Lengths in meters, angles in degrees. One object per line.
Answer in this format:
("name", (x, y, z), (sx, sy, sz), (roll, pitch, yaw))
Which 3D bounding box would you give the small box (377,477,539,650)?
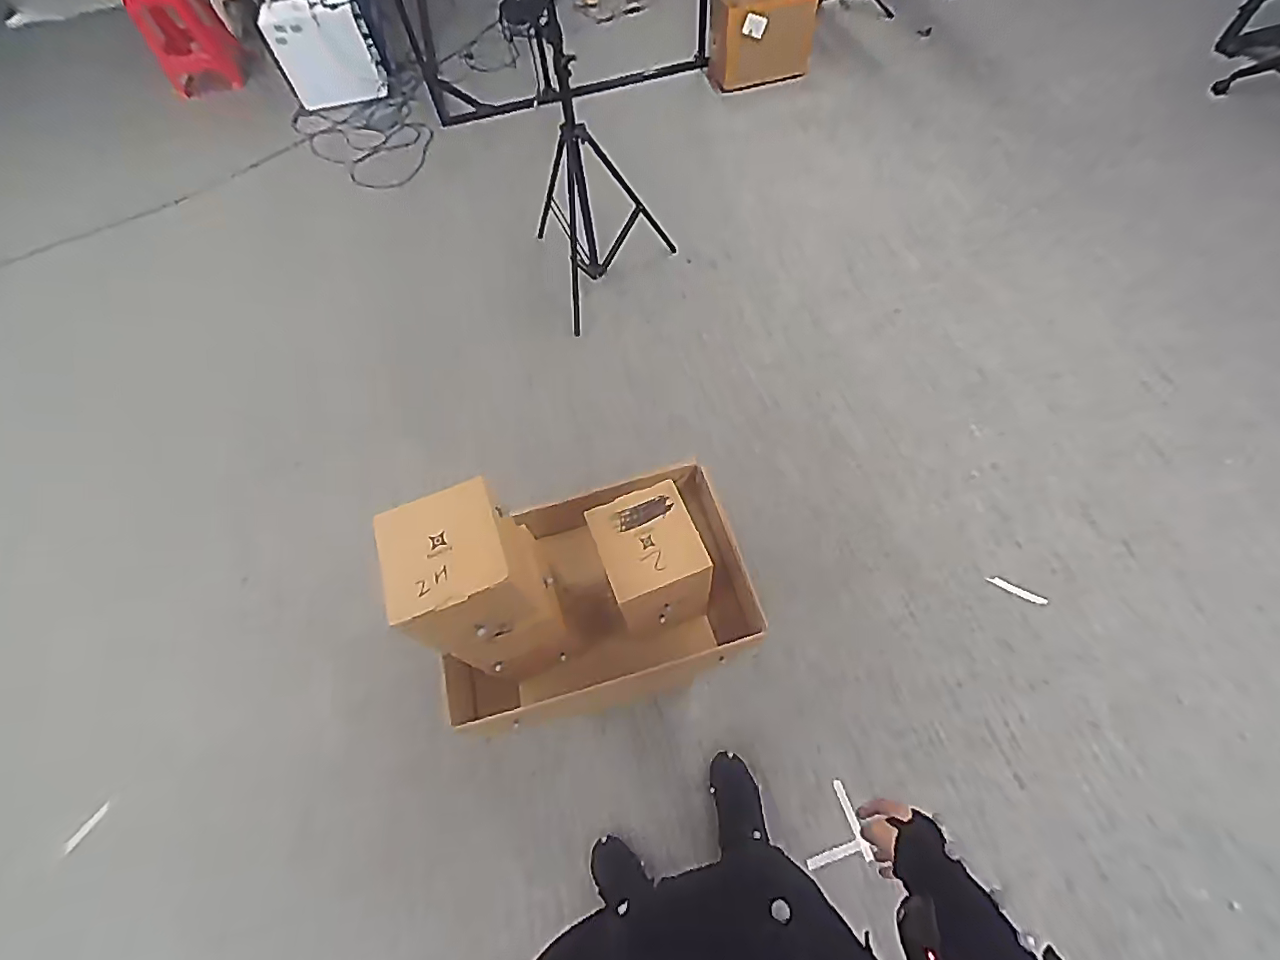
("small box", (-0.265, 0.130, 0.809), (0.168, 0.176, 0.179), (-21, 61, -5))

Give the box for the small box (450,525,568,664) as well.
("small box", (-0.237, 0.210, 0.951), (0.168, 0.176, 0.179), (-19, 61, -5))
